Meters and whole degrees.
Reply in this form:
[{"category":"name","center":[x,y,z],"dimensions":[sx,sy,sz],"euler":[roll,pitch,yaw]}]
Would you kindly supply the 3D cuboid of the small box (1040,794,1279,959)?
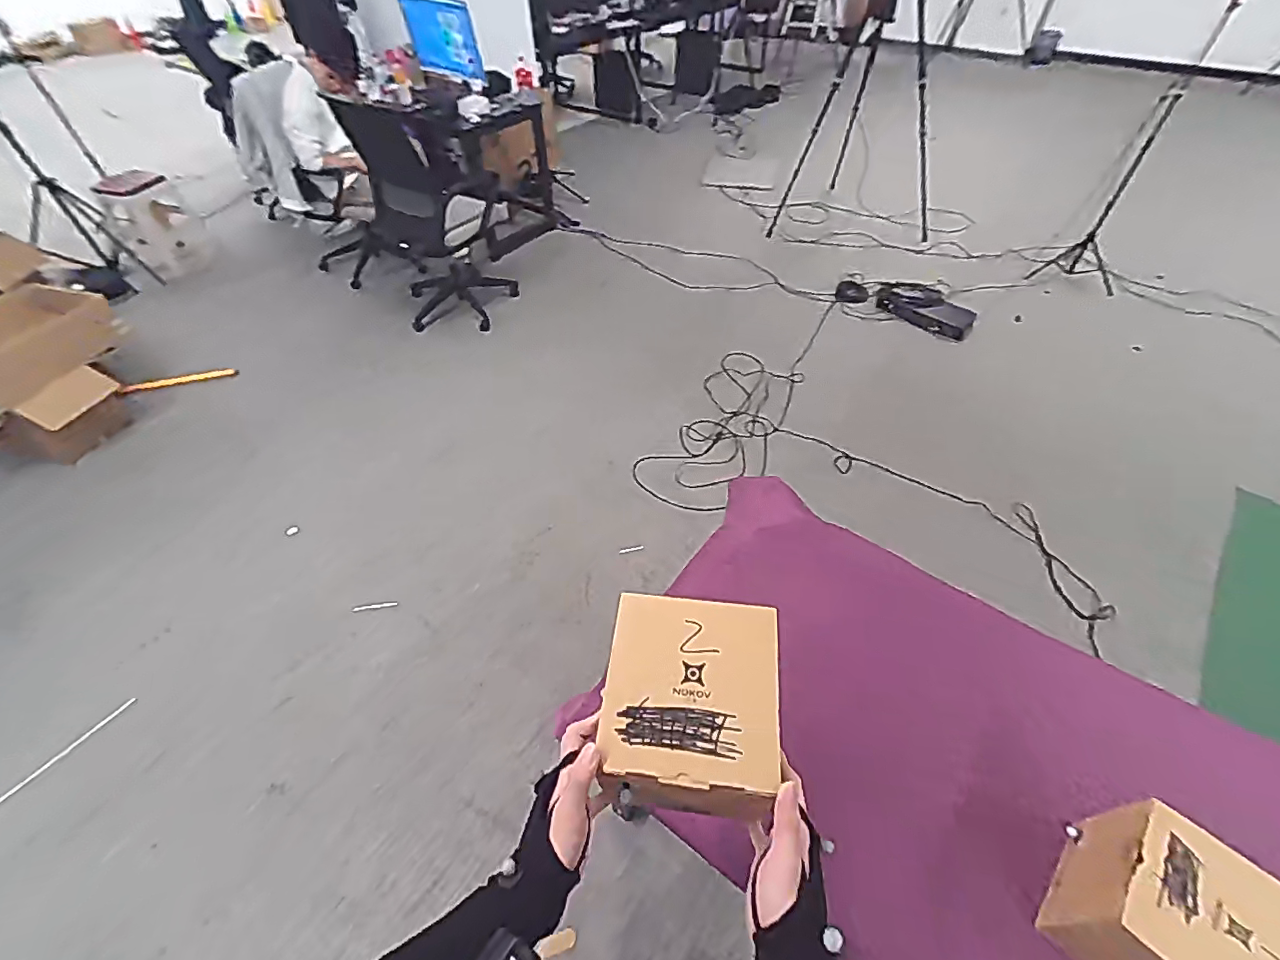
[{"category":"small box","center":[0.626,0.520,0.638],"dimensions":[0.179,0.176,0.168],"euler":[37,59,27]}]
